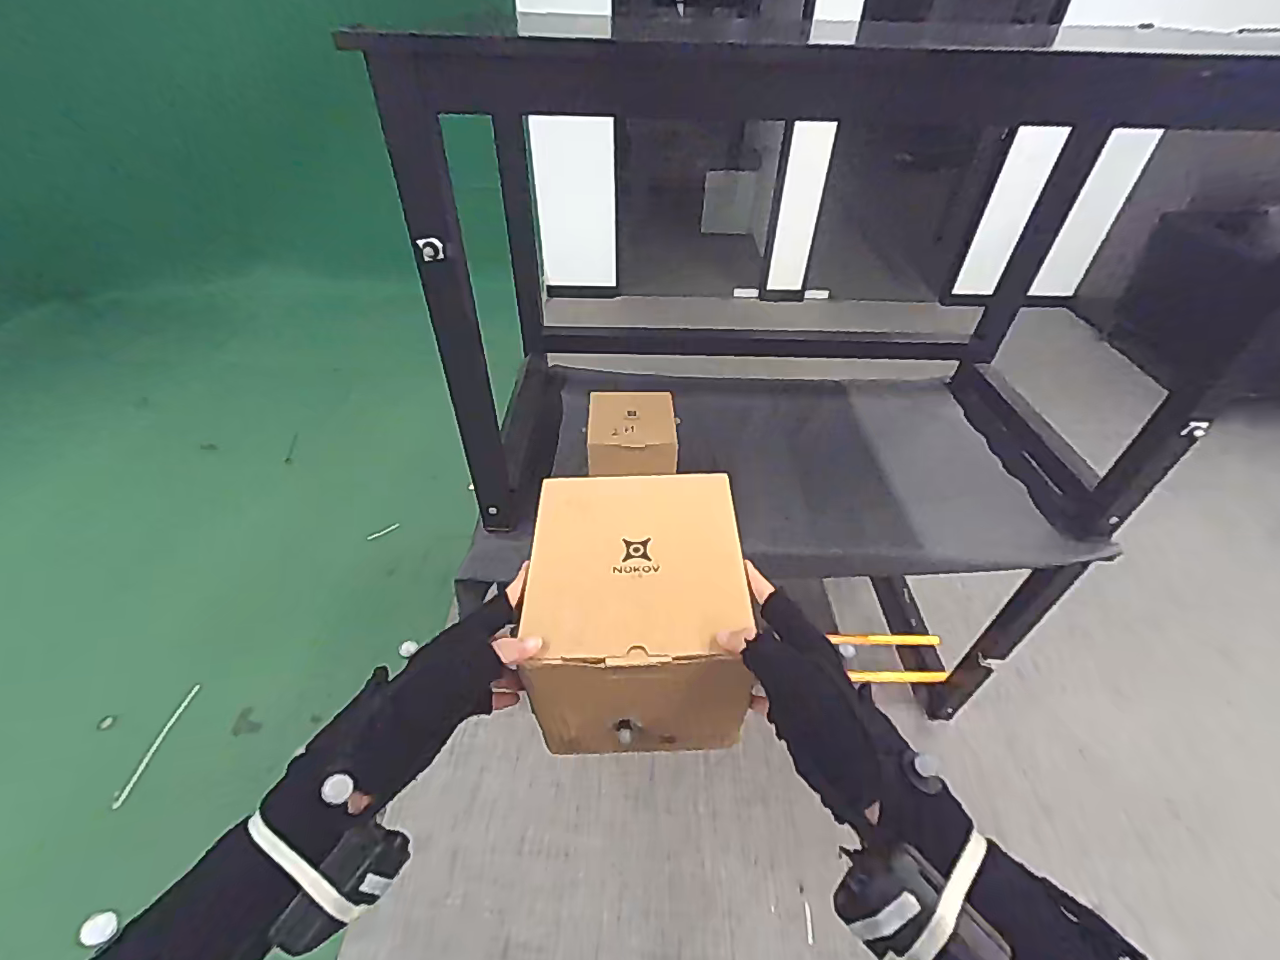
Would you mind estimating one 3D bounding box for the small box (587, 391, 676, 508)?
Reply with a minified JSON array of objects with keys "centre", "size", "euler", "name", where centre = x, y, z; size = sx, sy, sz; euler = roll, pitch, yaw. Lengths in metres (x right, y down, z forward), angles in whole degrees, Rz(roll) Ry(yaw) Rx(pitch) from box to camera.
[{"centre":[-0.019,-0.063,1.092],"size":[0.168,0.176,0.179],"euler":[-1,42,-2],"name":"small box"}]
